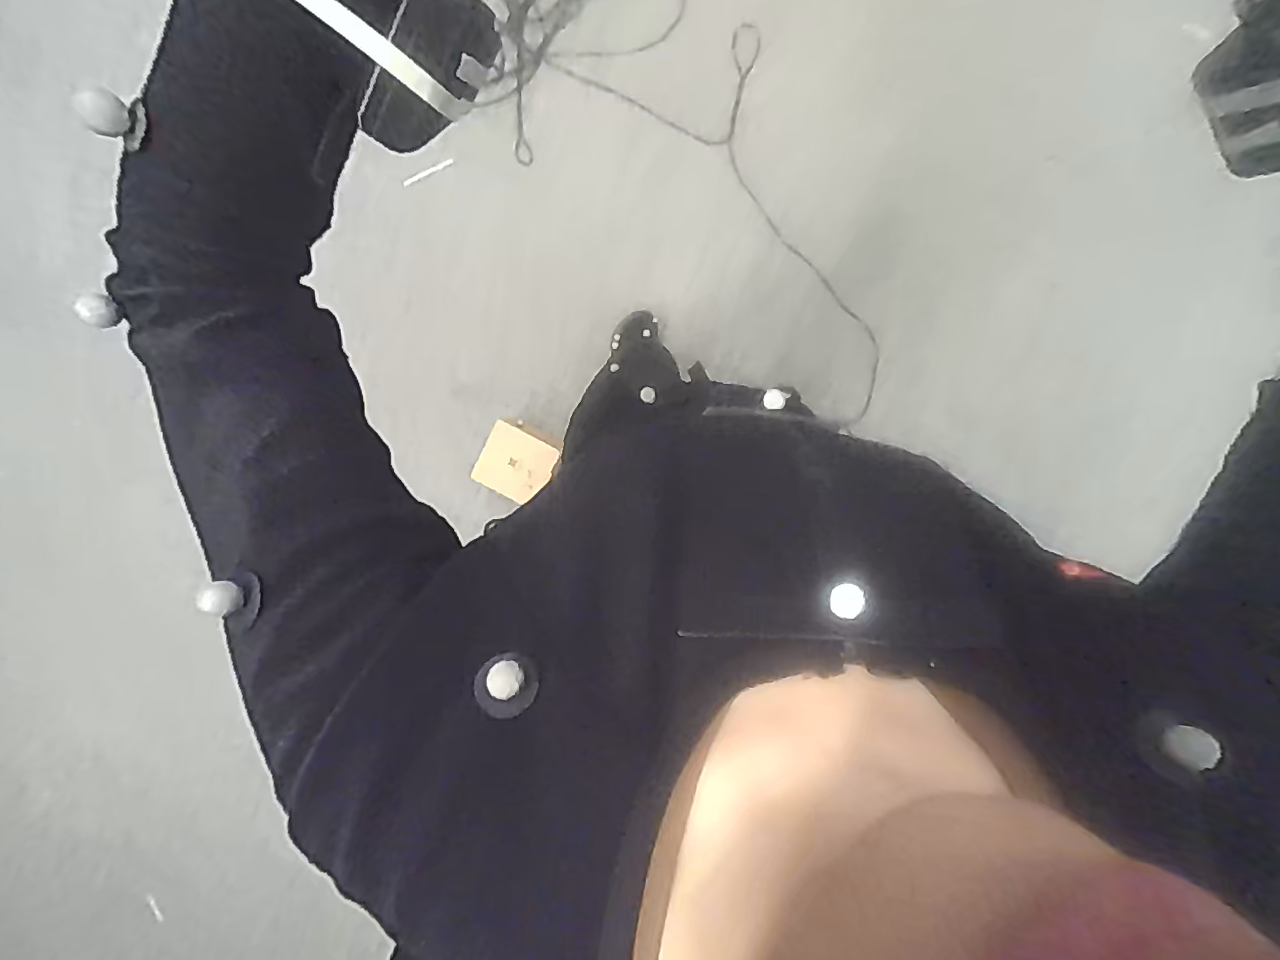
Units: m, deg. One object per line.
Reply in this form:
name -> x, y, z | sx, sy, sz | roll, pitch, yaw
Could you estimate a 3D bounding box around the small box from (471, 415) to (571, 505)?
small box -> -0.300, -0.057, 1.399 | 0.179, 0.176, 0.168 | 28, 99, -2
